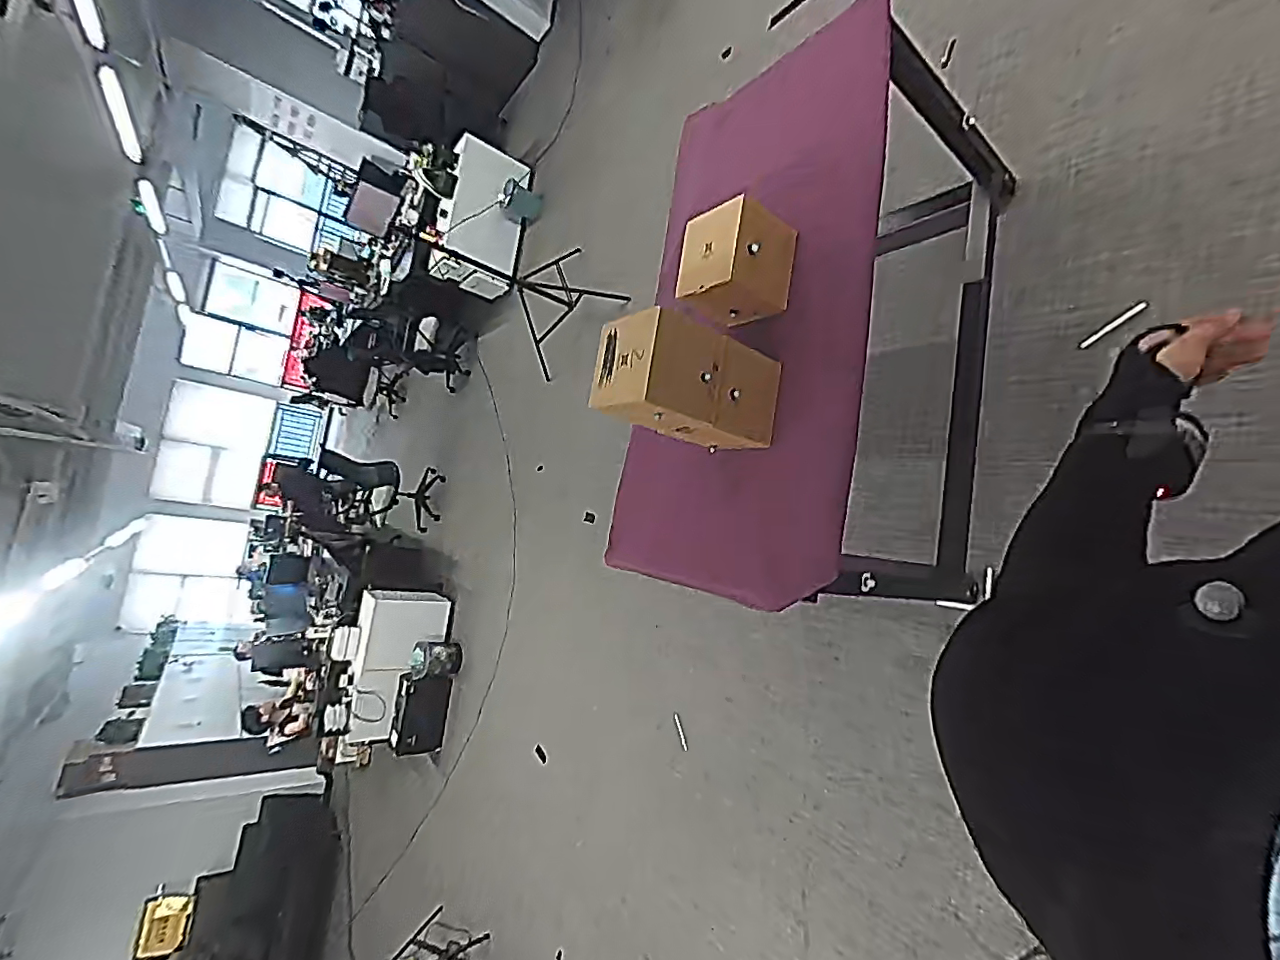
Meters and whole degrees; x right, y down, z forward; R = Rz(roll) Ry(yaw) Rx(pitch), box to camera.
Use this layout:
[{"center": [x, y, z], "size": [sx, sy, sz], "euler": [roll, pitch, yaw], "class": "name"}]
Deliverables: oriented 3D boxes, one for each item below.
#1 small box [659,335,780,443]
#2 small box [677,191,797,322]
[{"center": [0.163, -0.173, 1.097], "size": [0.168, 0.176, 0.179], "euler": [3, 82, 53], "class": "small box"}, {"center": [0.205, -0.453, 1.127], "size": [0.168, 0.176, 0.179], "euler": [4, 84, 54], "class": "small box"}]
